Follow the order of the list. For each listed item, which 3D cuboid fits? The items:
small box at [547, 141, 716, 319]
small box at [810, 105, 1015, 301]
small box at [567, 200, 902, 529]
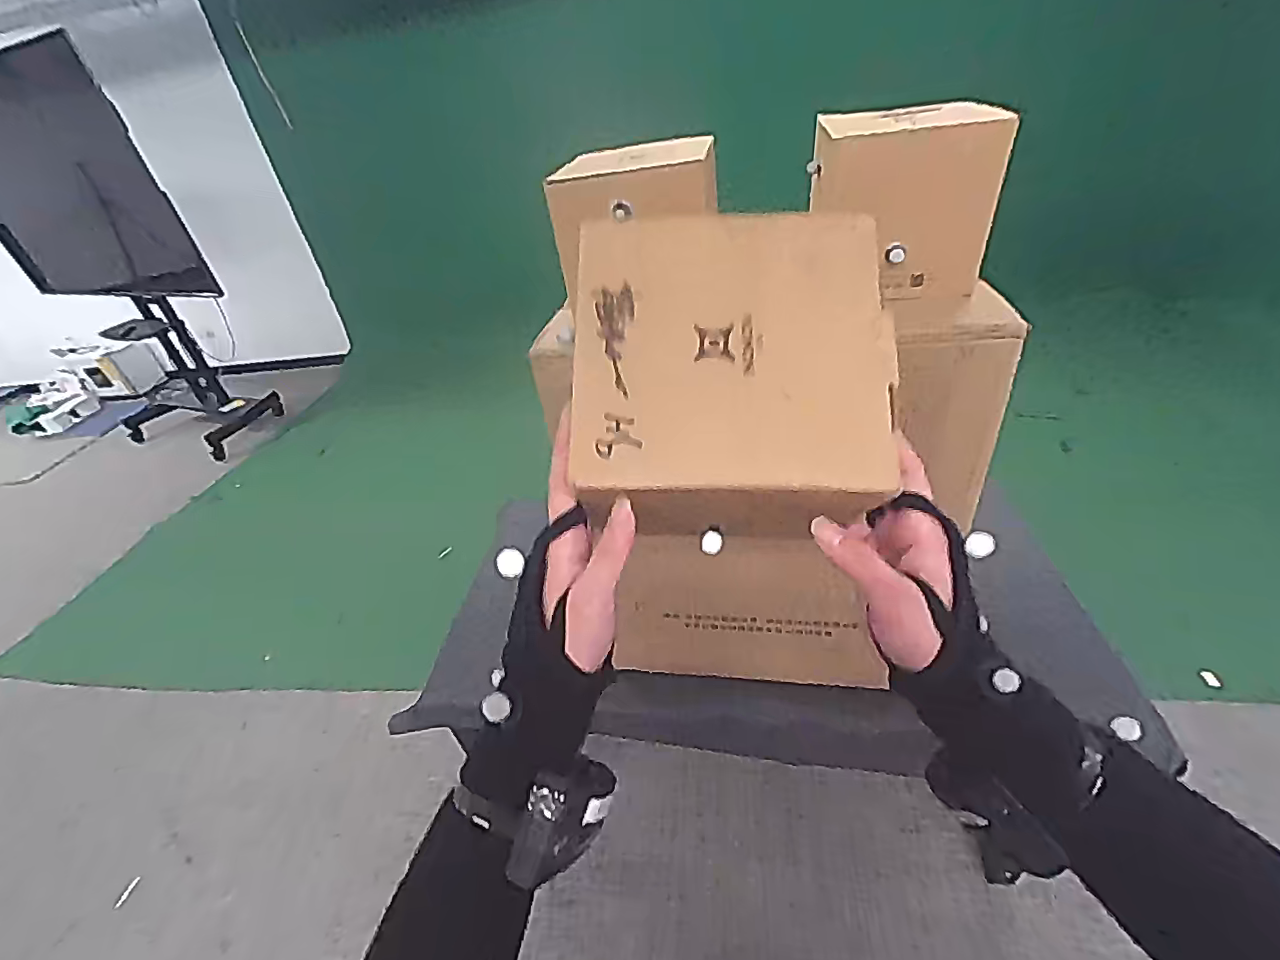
[{"bbox_3d":[0.004,-0.306,0.675,0.179,0.176,0.168,1,41,10],"label":"small box"},{"bbox_3d":[0.289,-0.319,0.627,0.168,0.176,0.179,1,40,11],"label":"small box"},{"bbox_3d":[0.052,-0.061,0.374,0.179,0.176,0.168,2,76,1],"label":"small box"}]
